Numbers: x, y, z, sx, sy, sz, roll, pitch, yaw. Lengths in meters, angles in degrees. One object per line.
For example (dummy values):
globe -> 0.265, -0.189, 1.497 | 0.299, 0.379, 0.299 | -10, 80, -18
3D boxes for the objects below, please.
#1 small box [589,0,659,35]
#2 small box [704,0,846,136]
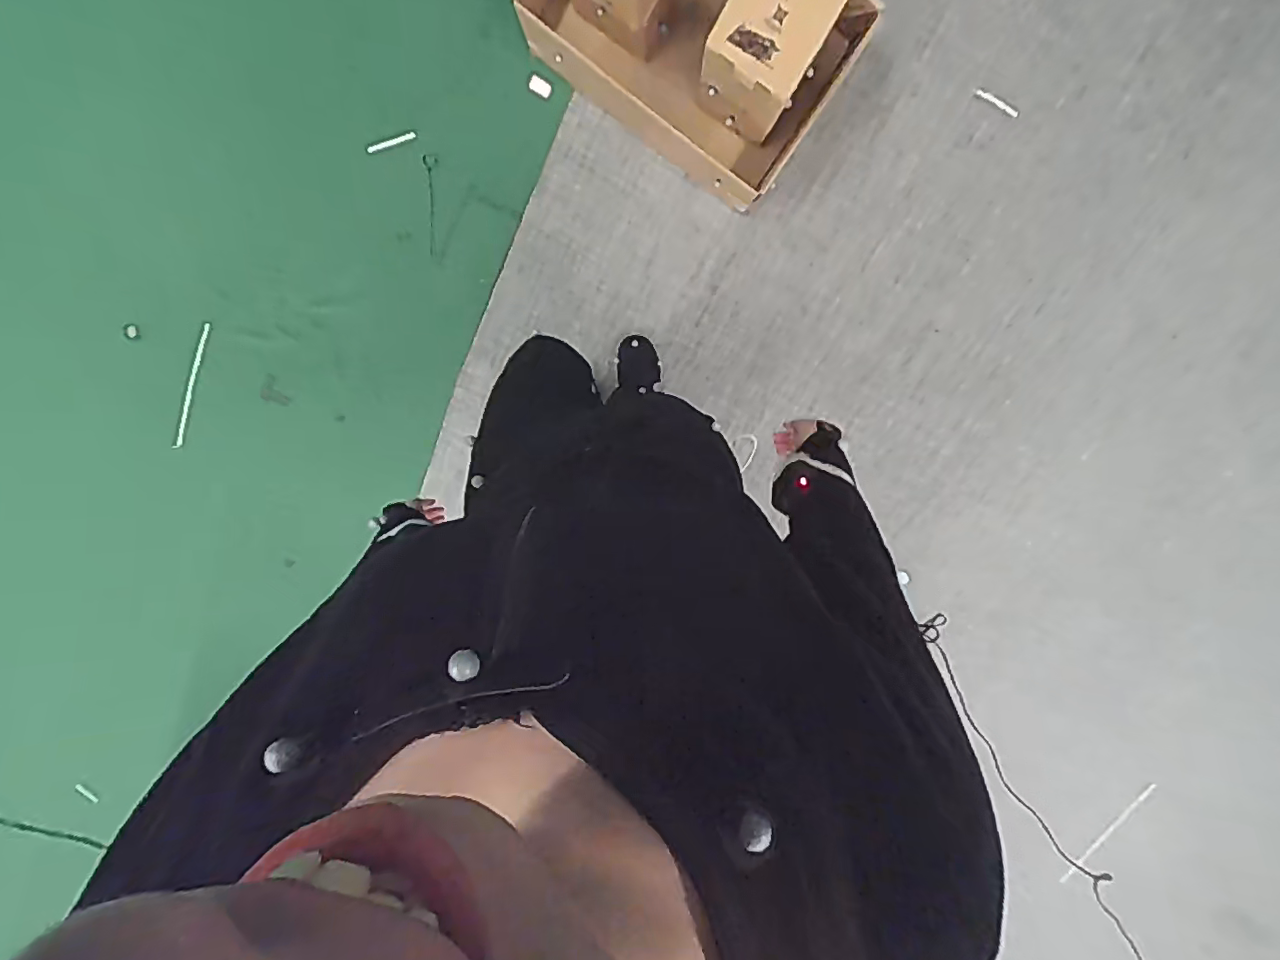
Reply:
small box -> -0.025, -0.929, 0.921 | 0.168, 0.176, 0.179 | 33, 106, -9
small box -> 0.227, -0.760, 0.964 | 0.168, 0.176, 0.179 | 32, 105, -7
